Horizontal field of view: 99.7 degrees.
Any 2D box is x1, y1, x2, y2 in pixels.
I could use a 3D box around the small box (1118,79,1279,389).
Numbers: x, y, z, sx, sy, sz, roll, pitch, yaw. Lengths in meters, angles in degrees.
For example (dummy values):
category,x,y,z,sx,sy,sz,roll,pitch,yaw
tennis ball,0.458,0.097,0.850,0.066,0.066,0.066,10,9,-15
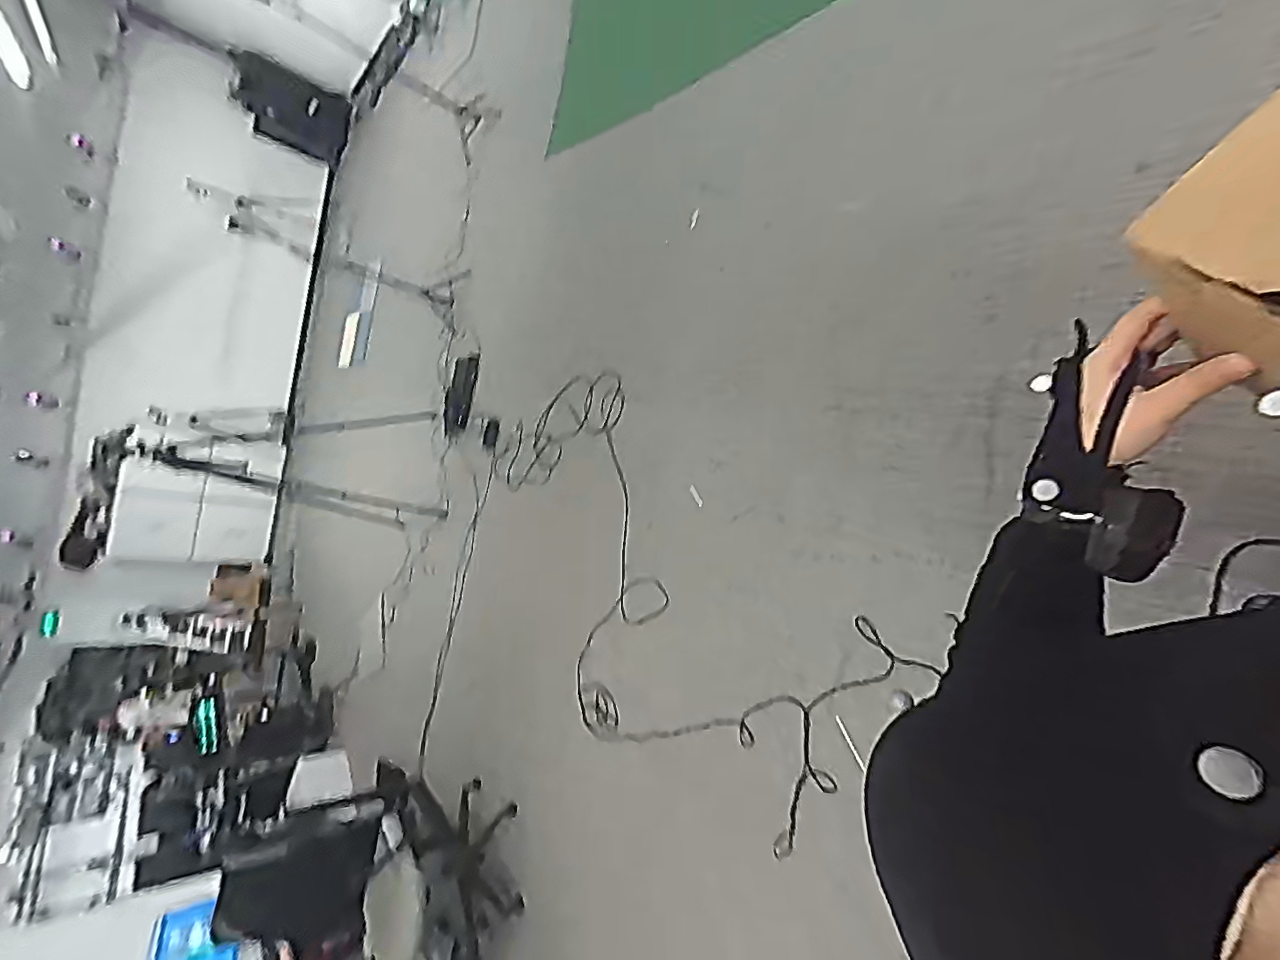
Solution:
category,x,y,z,sx,sy,sz,roll,pitch,yaw
small box,0.390,-0.115,0.240,0.179,0.176,0.168,-50,37,30
